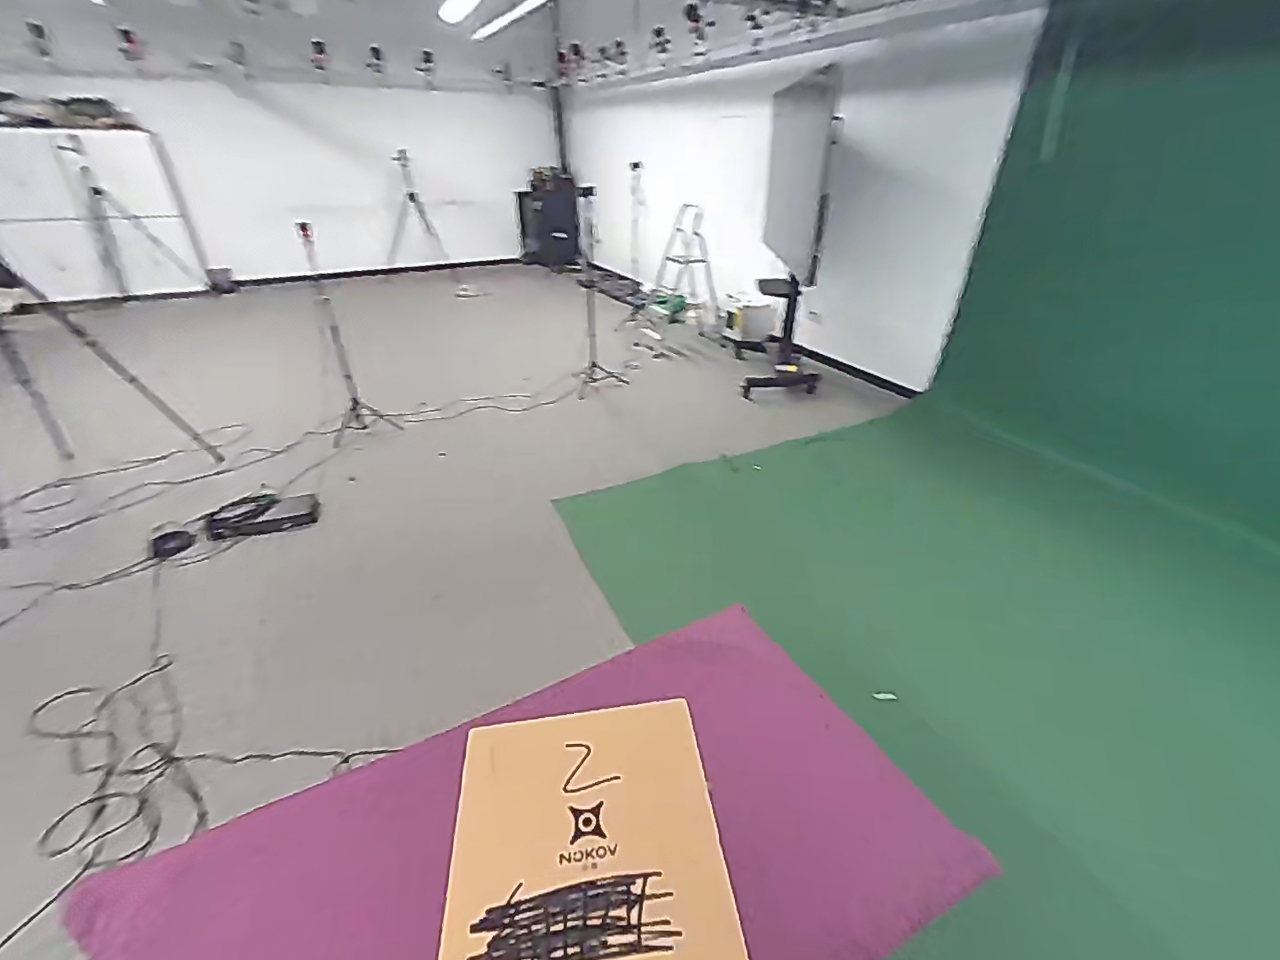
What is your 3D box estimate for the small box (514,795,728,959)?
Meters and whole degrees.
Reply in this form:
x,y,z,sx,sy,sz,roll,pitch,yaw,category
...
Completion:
x,y,z,sx,sy,sz,roll,pitch,yaw,category
-0.017,0.415,0.475,0.168,0.176,0.179,-4,34,-4,small box
